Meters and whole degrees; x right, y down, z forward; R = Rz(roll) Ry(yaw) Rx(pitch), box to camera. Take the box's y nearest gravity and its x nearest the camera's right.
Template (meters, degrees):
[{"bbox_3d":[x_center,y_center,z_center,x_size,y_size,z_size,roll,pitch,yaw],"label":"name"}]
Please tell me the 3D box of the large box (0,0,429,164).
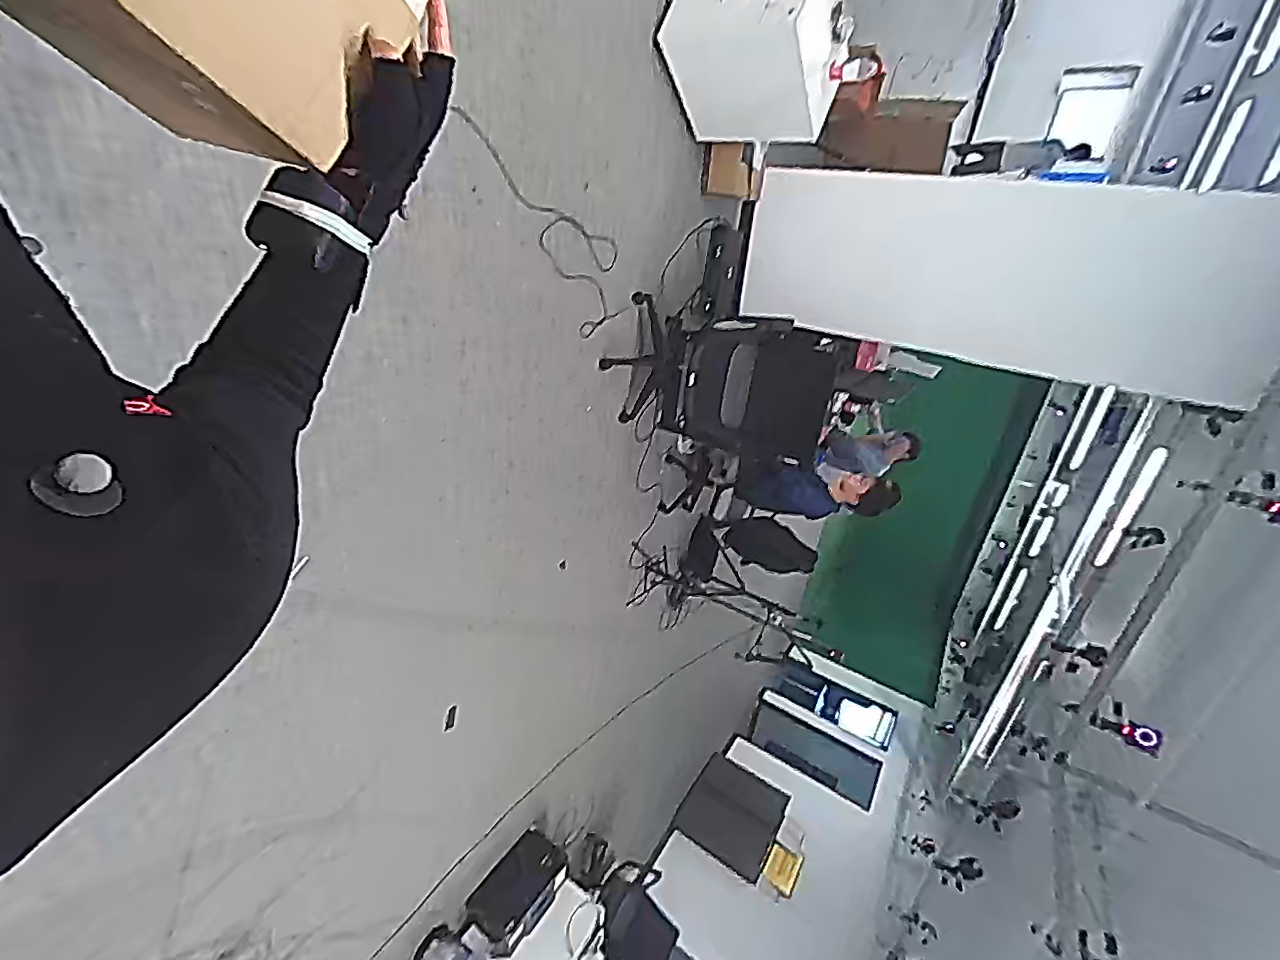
[{"bbox_3d":[-0.382,-0.499,0.347,0.320,0.320,0.408,-61,152,-3],"label":"large box"}]
